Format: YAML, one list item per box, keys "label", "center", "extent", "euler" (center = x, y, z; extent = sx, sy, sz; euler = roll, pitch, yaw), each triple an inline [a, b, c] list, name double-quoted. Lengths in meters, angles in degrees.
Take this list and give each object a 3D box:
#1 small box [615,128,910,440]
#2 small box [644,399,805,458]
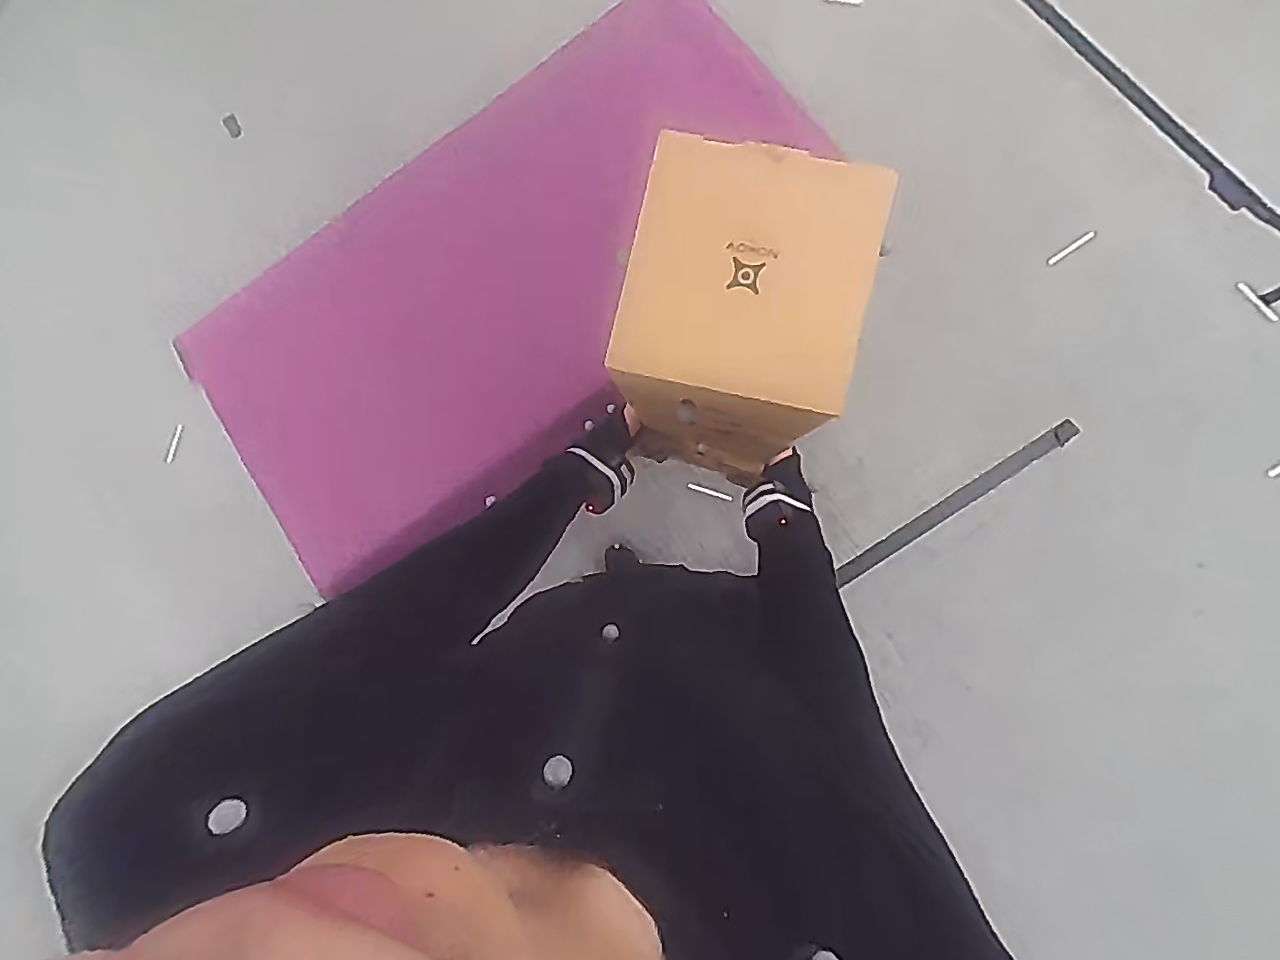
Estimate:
- label: "small box"
  center: [0.089, -0.138, 0.443]
  extent: [0.168, 0.176, 0.179]
  euler: [13, 88, 6]
- label: "small box"
  center: [0.109, -0.133, 0.604]
  extent: [0.168, 0.176, 0.179]
  euler: [16, 89, 7]
